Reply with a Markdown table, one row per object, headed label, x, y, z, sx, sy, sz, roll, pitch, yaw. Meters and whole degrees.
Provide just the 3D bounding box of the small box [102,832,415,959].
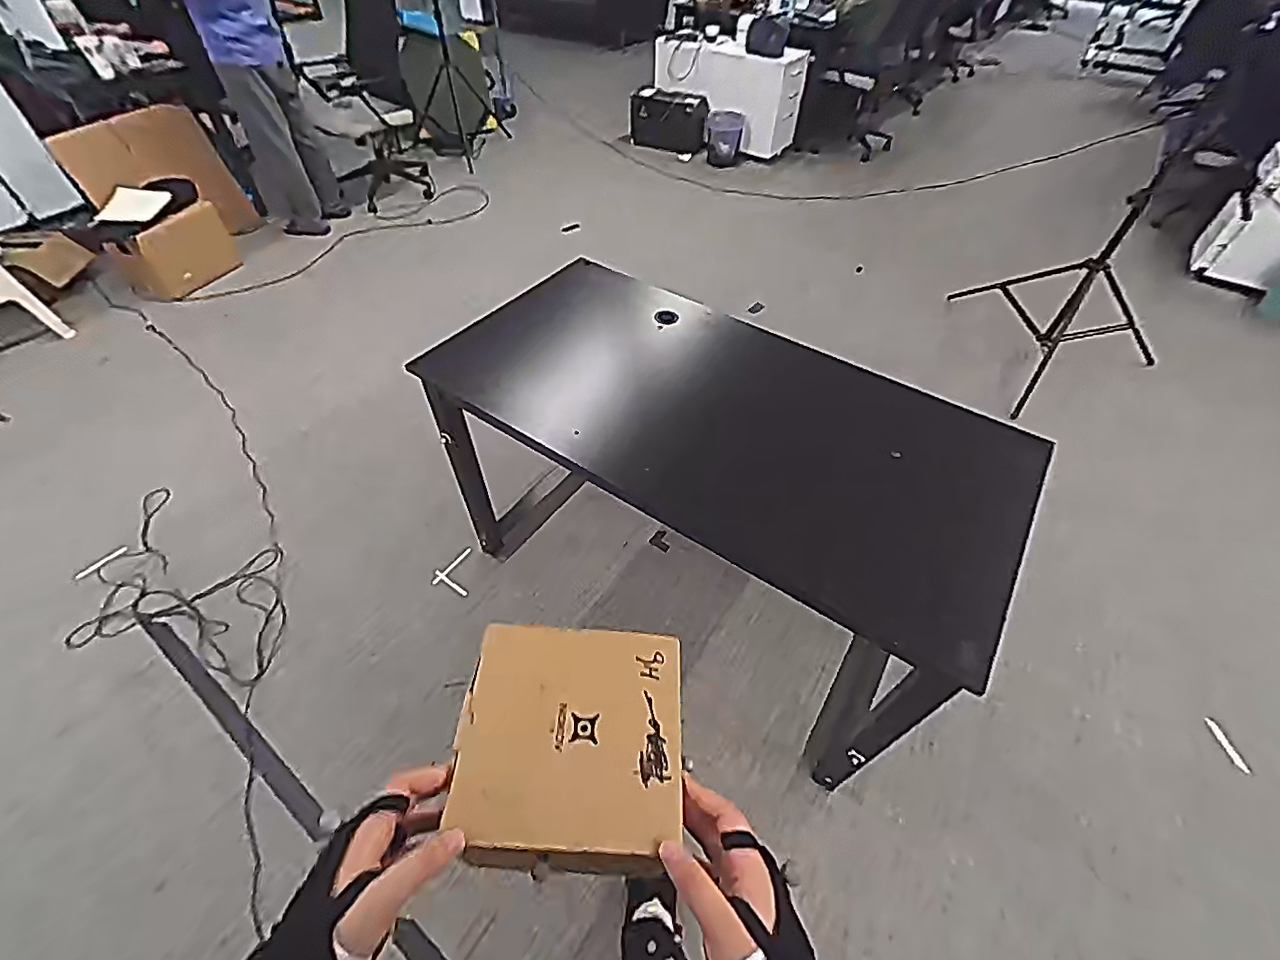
| label | x | y | z | sx | sy | sz | roll | pitch | yaw |
| --- | --- | --- | --- | --- | --- | --- | --- | --- | --- |
| small box | -0.251 | 0.362 | 0.328 | 0.179 | 0.168 | 0.176 | 2 | 47 | -51 |
